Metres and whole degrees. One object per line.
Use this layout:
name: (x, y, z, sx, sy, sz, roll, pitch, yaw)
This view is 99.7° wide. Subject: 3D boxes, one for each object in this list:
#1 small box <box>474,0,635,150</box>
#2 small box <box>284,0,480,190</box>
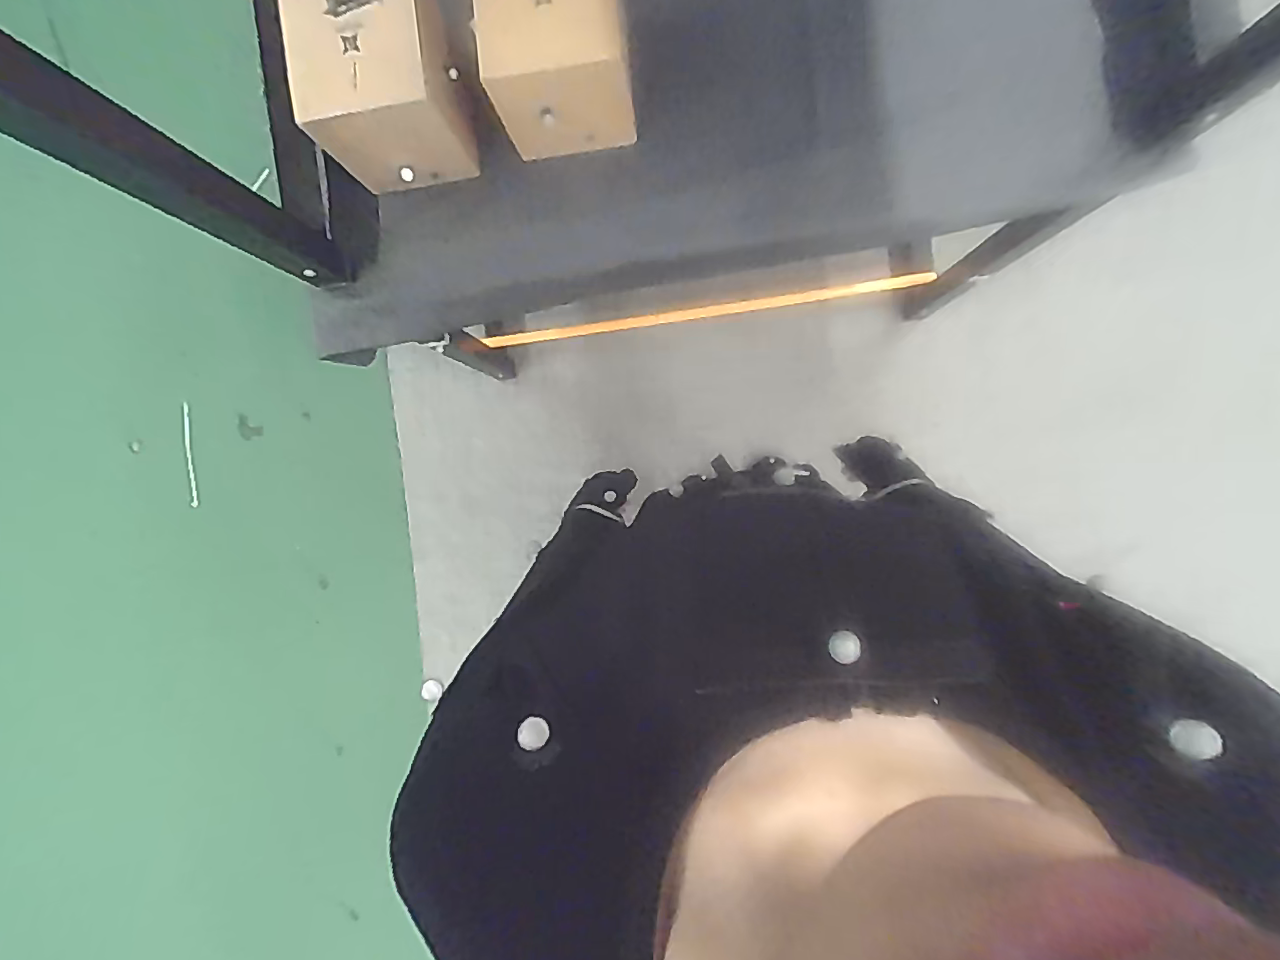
small box: (-0.101, -0.554, 0.692, 0.168, 0.176, 0.179, -6, 90, 5)
small box: (-0.326, -0.519, 0.709, 0.168, 0.176, 0.179, -7, 91, 5)
